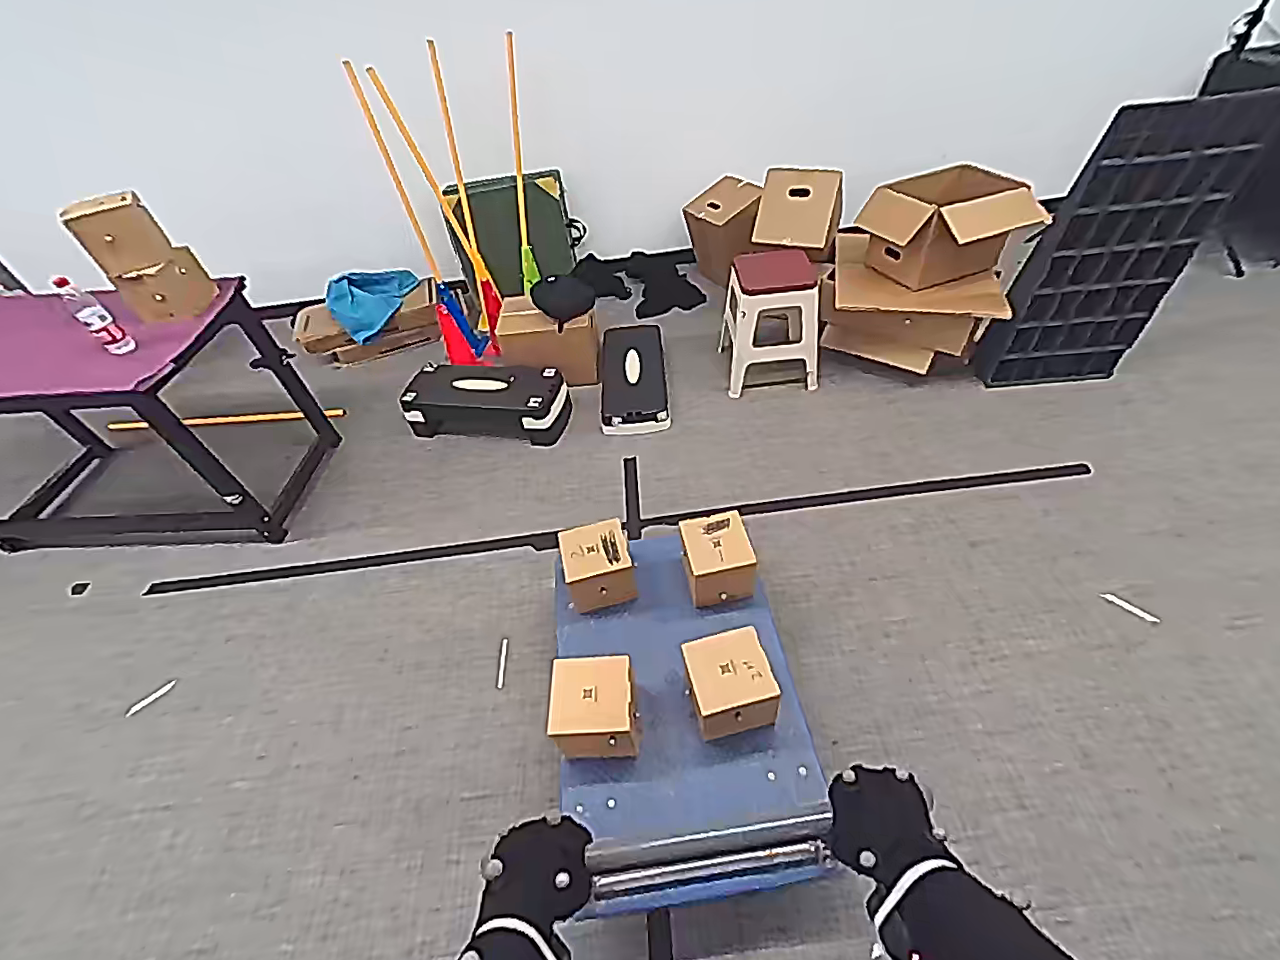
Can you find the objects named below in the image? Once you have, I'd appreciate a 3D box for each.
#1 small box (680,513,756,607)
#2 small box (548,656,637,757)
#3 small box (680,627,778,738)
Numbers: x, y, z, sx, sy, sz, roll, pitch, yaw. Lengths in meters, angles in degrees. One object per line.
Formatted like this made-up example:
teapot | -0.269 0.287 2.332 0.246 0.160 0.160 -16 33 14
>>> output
small box | 0.206 0.218 1.467 0.168 0.176 0.179 -11 48 -2
small box | -0.101 0.521 1.235 0.179 0.176 0.168 -4 47 3
small box | 0.201 0.469 1.239 0.179 0.176 0.168 -14 48 -4
